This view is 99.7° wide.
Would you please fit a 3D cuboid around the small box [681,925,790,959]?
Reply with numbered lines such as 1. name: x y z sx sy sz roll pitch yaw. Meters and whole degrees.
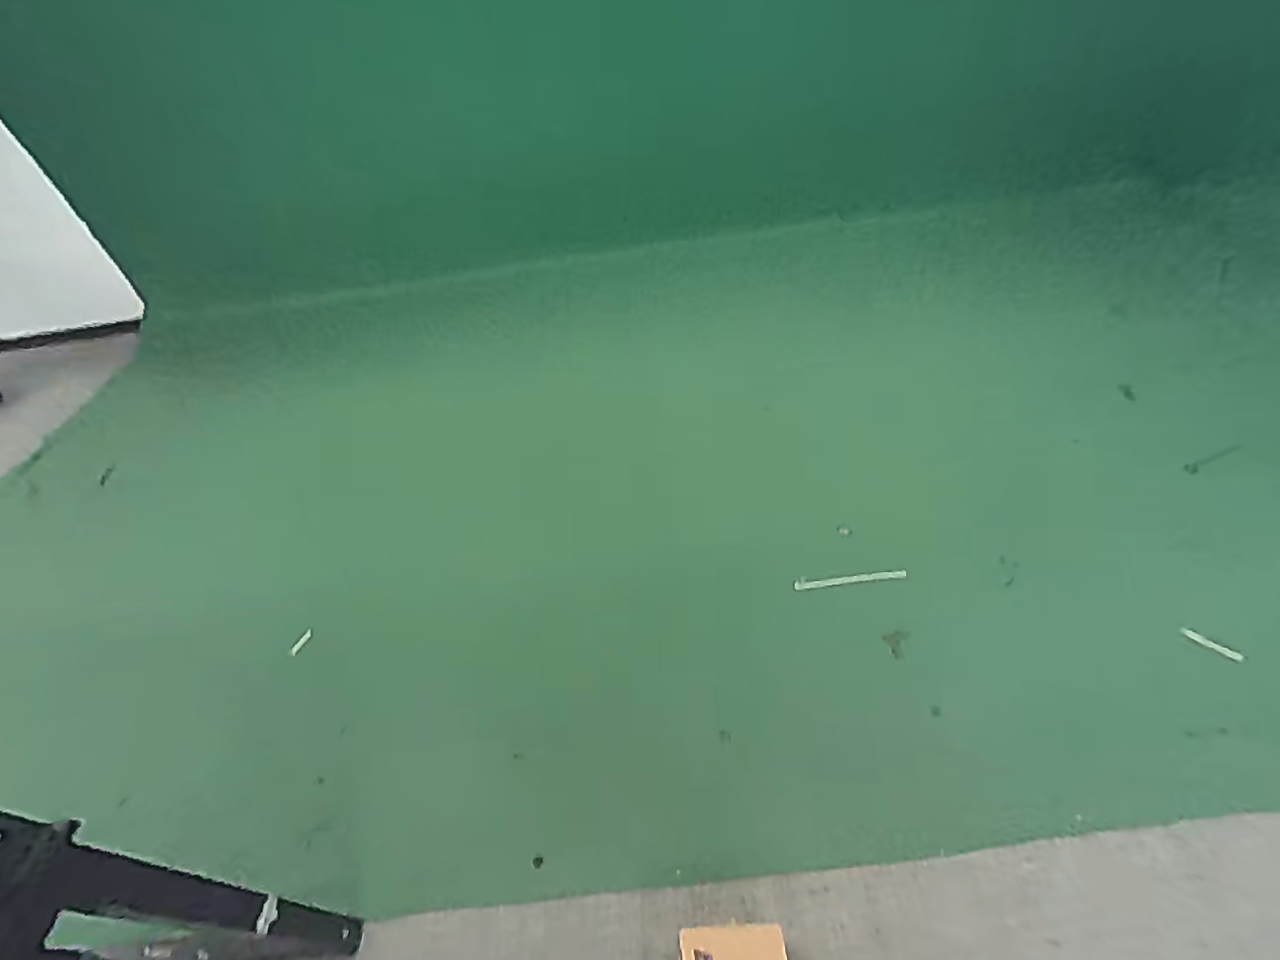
1. small box: 0.166 0.862 0.904 0.179 0.176 0.168 -5 45 3
